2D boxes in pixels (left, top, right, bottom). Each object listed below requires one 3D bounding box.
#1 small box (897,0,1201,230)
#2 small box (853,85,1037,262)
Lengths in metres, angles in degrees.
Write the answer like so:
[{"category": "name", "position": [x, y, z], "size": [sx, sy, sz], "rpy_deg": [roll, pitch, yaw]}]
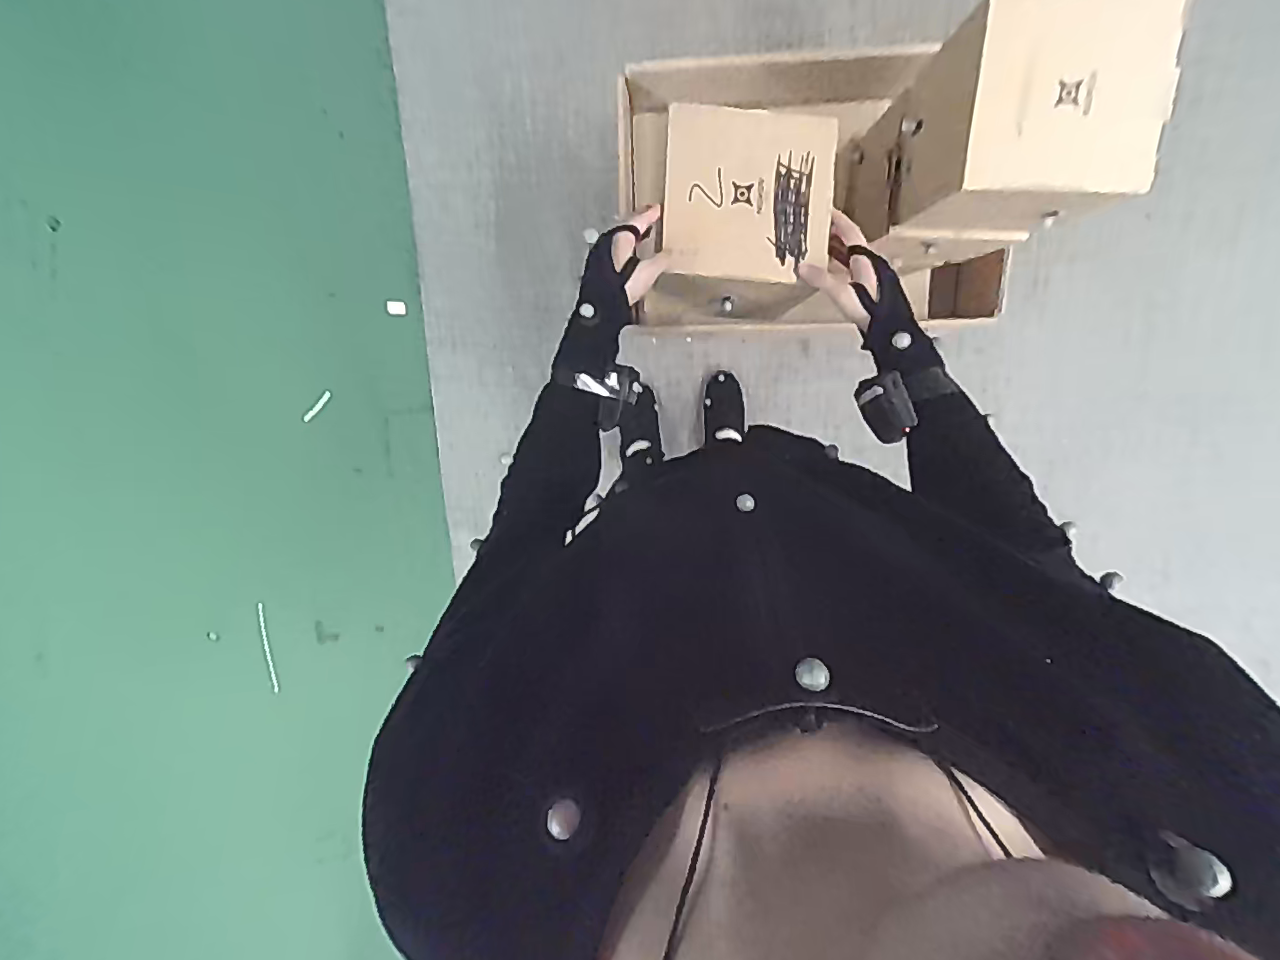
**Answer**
[{"category": "small box", "position": [0.396, -0.368, 0.559], "size": [0.179, 0.176, 0.168], "rpy_deg": [3, 102, 4]}, {"category": "small box", "position": [0.401, -0.394, 0.720], "size": [0.179, 0.176, 0.168], "rpy_deg": [3, 103, 3]}]
